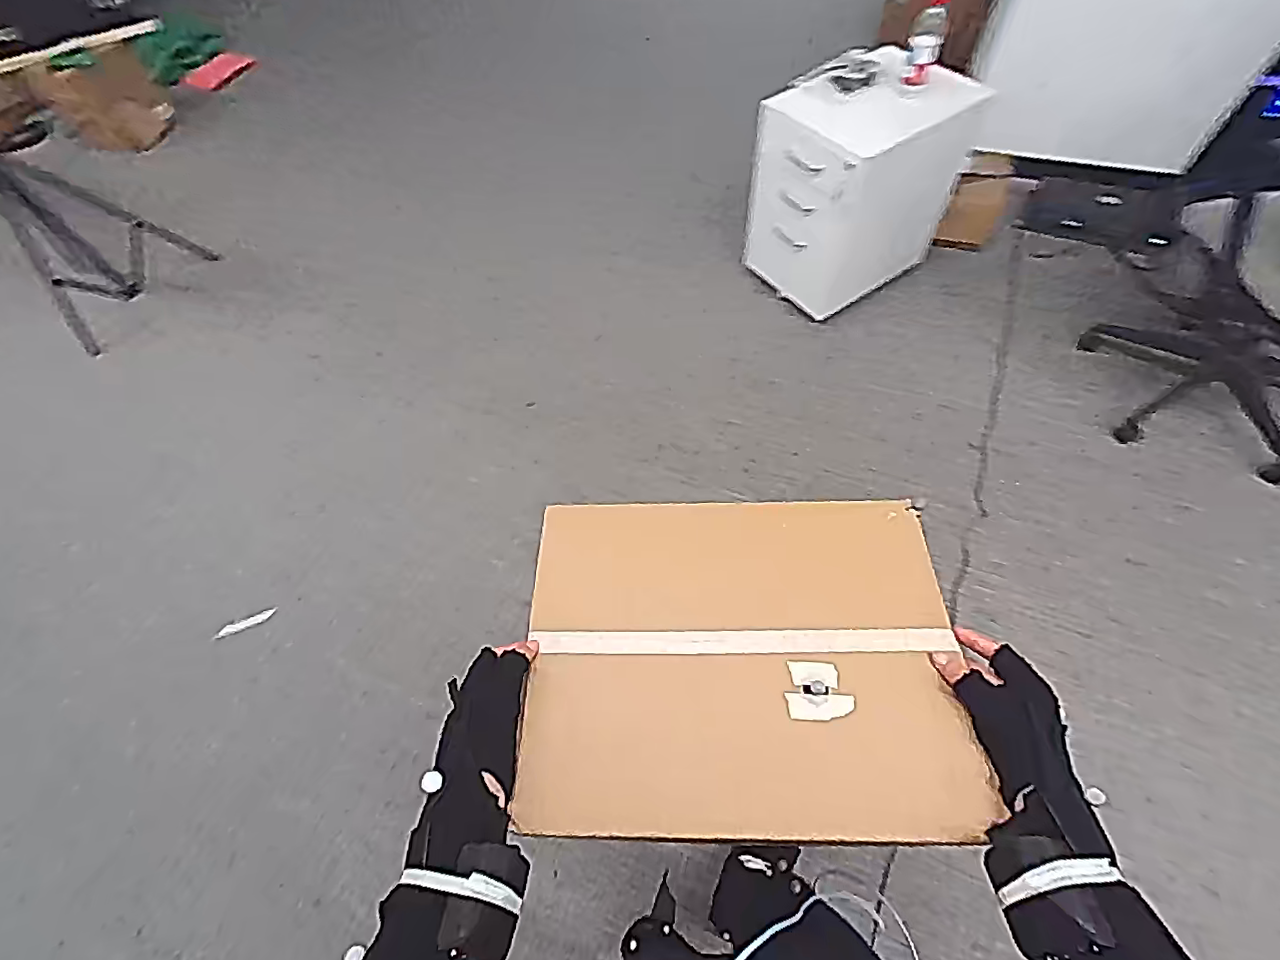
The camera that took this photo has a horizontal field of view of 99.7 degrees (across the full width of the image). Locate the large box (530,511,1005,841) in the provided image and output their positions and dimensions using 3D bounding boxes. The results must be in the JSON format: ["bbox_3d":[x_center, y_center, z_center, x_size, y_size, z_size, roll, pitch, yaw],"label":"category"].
[{"bbox_3d":[0.112,0.246,0.655,0.408,0.320,0.320,0,57,4],"label":"large box"}]
